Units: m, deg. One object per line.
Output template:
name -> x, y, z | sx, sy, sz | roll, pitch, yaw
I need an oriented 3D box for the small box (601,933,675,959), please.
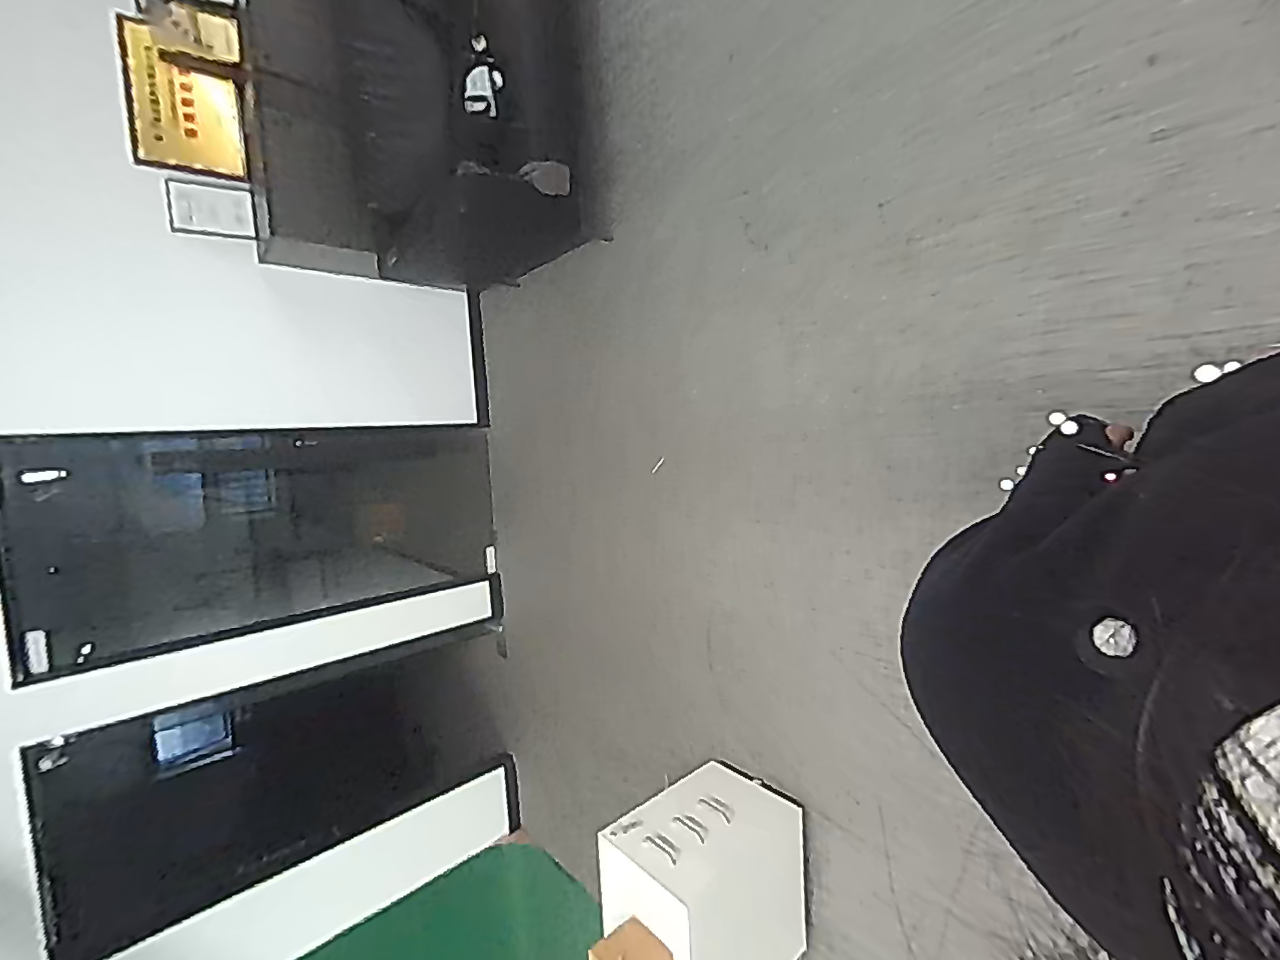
small box -> 0.006, 1.402, 1.479 | 0.179, 0.176, 0.168 | -1, 94, 50
